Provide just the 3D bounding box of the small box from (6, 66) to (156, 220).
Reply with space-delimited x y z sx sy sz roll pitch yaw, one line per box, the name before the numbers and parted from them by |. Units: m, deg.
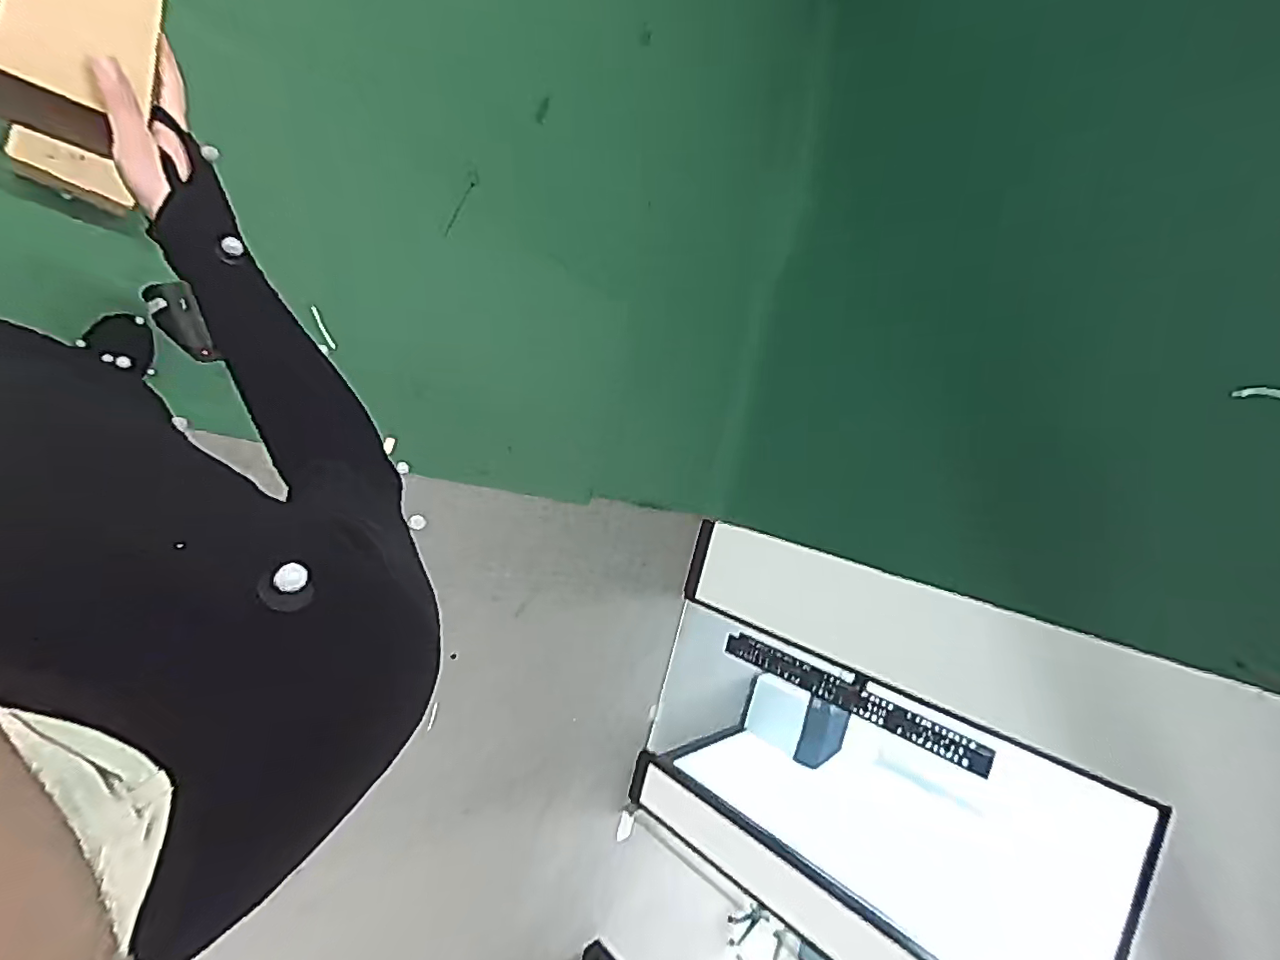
small box | -1.069 -0.628 1.033 0.168 0.176 0.179 17 89 -50
